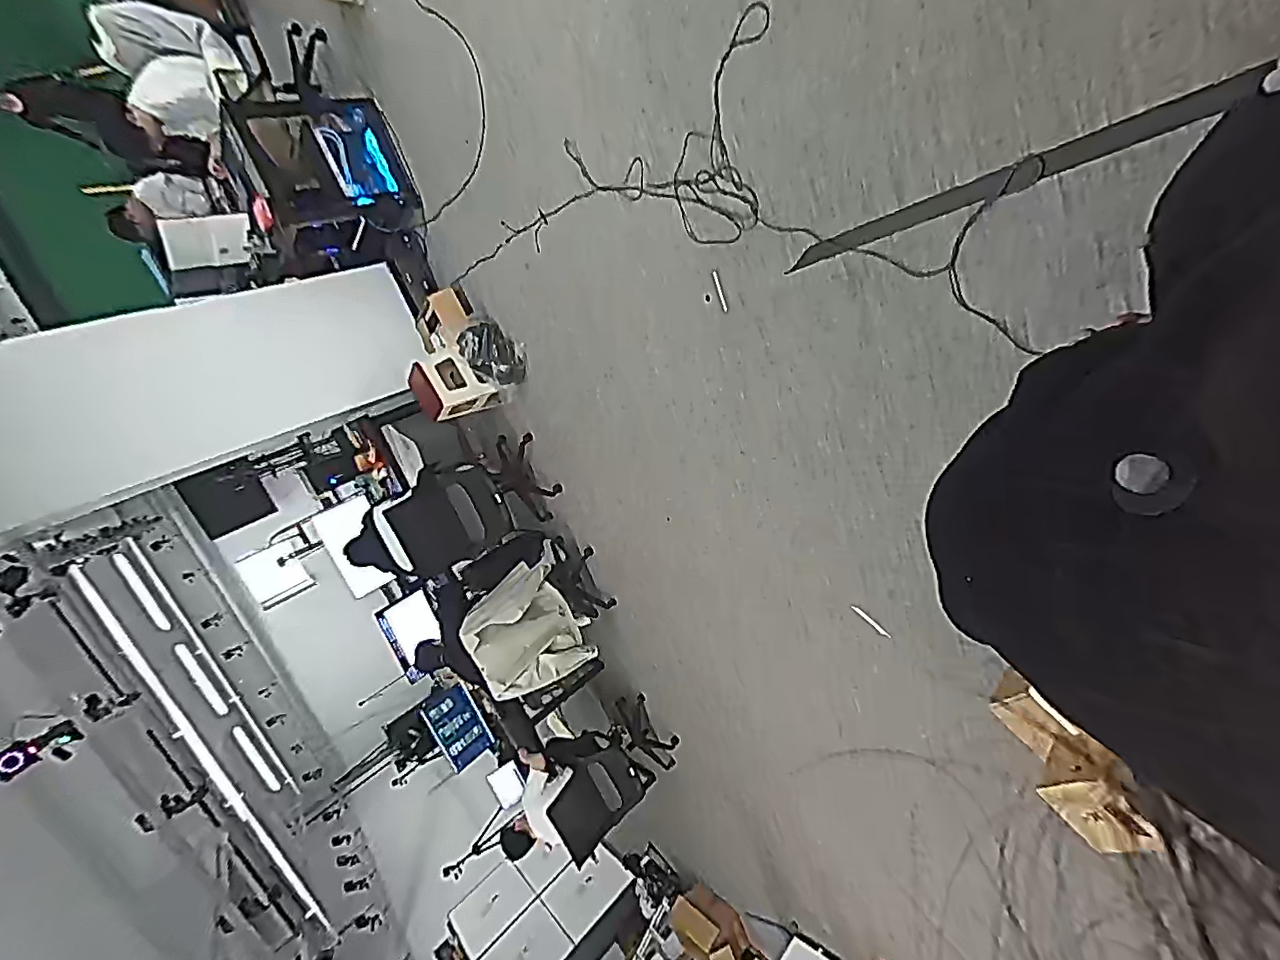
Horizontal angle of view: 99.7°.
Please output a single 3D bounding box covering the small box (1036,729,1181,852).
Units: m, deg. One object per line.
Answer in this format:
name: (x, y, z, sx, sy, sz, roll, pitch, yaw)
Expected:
small box: (1.041, 0.683, 1.200, 0.168, 0.176, 0.179, 47, 145, 18)
